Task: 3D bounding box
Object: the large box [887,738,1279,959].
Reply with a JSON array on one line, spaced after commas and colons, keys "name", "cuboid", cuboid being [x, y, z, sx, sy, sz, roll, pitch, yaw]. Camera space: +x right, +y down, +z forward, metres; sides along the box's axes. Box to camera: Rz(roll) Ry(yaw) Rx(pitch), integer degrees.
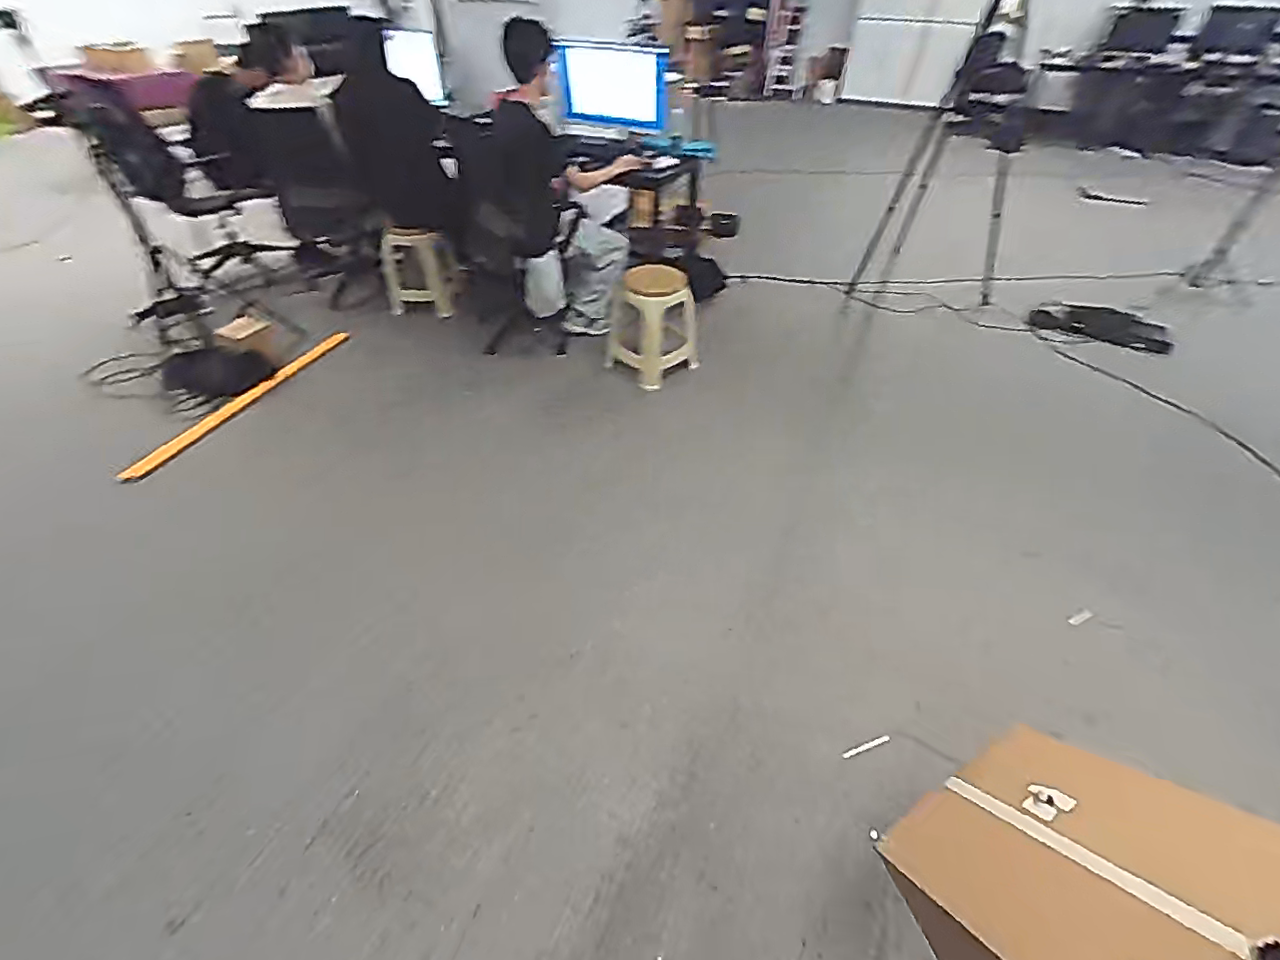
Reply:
[{"name": "large box", "cuboid": [0.611, 0.598, 0.652, 0.320, 0.408, 0.320, -28, 90, -13]}]
